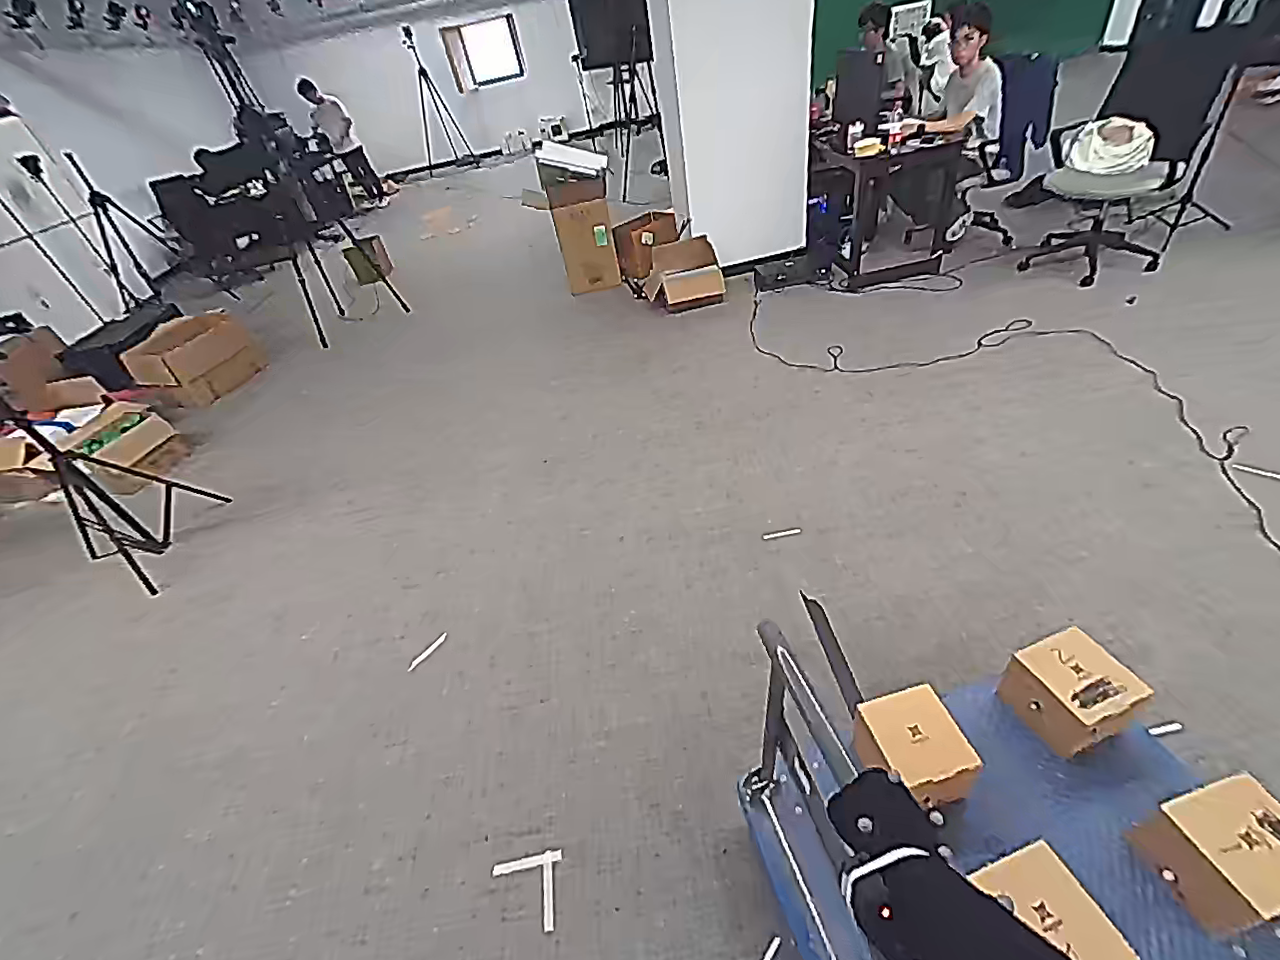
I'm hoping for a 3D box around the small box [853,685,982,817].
[{"bbox_3d":[0.569,0.571,1.139,0.168,0.176,0.179,-15,42,-3],"label":"small box"}]

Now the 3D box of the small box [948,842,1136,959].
[{"bbox_3d":[0.652,0.754,0.902,0.168,0.176,0.179,-19,40,-7],"label":"small box"}]

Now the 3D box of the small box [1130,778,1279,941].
[{"bbox_3d":[1.010,0.649,0.925,0.179,0.176,0.168,-18,40,-4],"label":"small box"}]
